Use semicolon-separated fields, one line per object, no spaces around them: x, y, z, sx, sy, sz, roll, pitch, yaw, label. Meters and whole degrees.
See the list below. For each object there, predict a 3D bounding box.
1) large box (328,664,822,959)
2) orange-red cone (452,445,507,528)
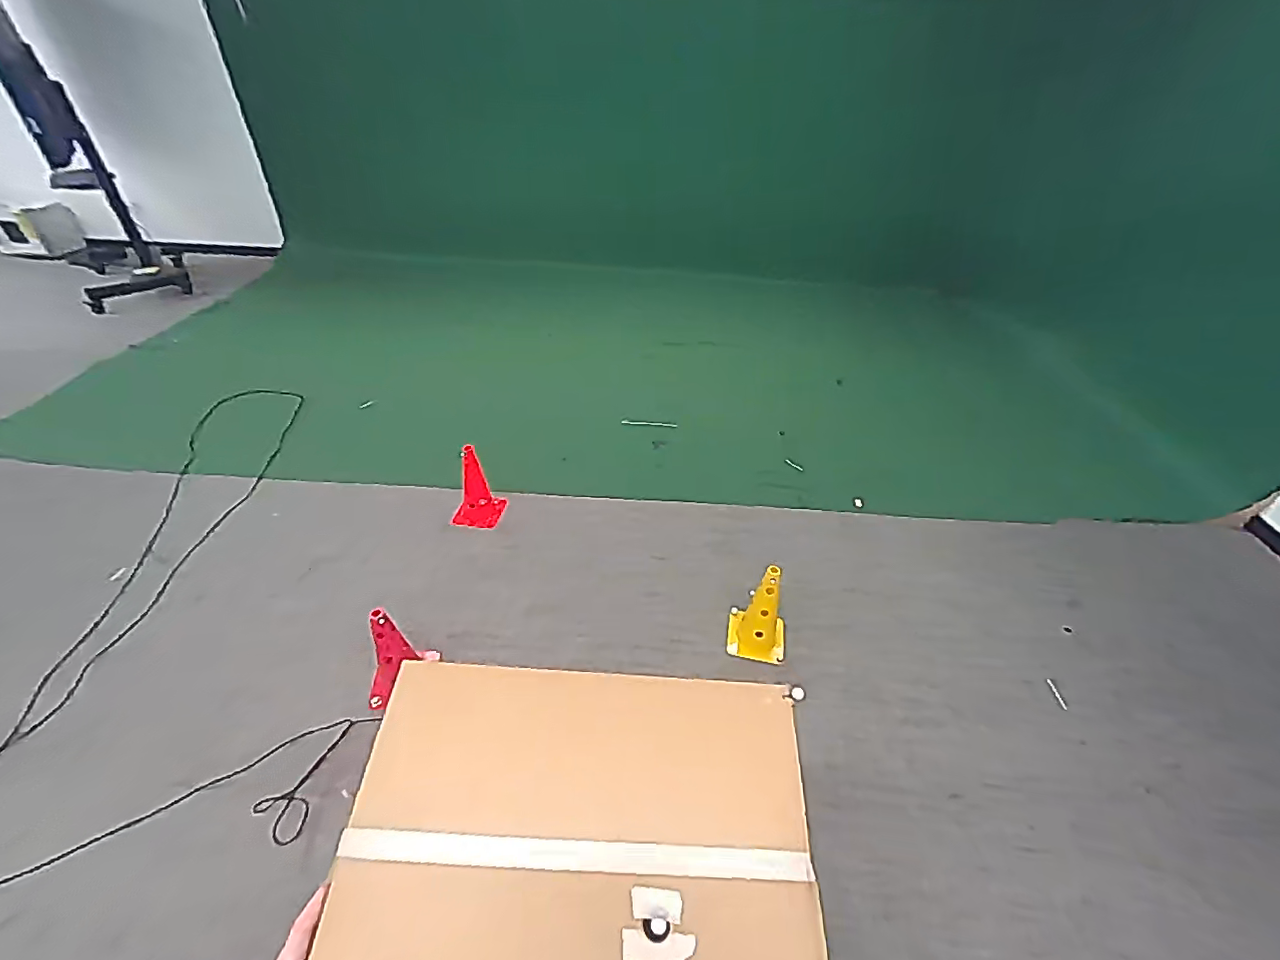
-0.057;0.417;0.596;0.408;0.320;0.320;4;53;-2;large box
-0.716;0.007;2.318;0.199;0.360;0.198;7;38;7;orange-red cone
